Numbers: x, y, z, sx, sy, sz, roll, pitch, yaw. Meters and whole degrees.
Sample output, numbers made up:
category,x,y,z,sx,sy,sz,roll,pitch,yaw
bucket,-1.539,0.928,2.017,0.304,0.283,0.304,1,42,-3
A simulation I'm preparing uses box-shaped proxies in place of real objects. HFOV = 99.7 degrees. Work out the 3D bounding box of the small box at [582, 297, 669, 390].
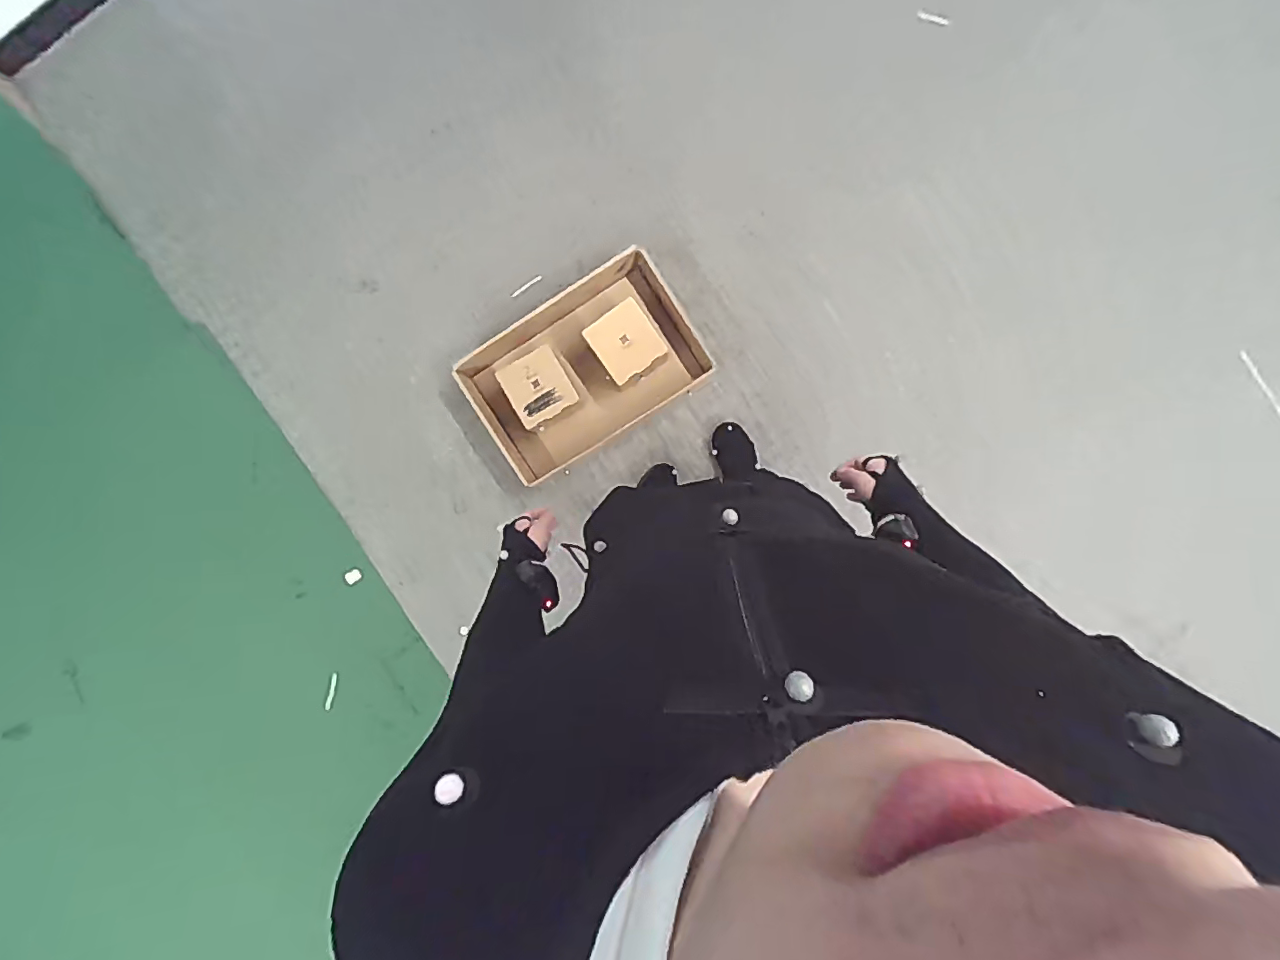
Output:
category,x,y,z,sx,sy,sz,roll,pitch,yaw
small box,-0.039,-0.367,1.496,0.168,0.176,0.179,-36,93,3
